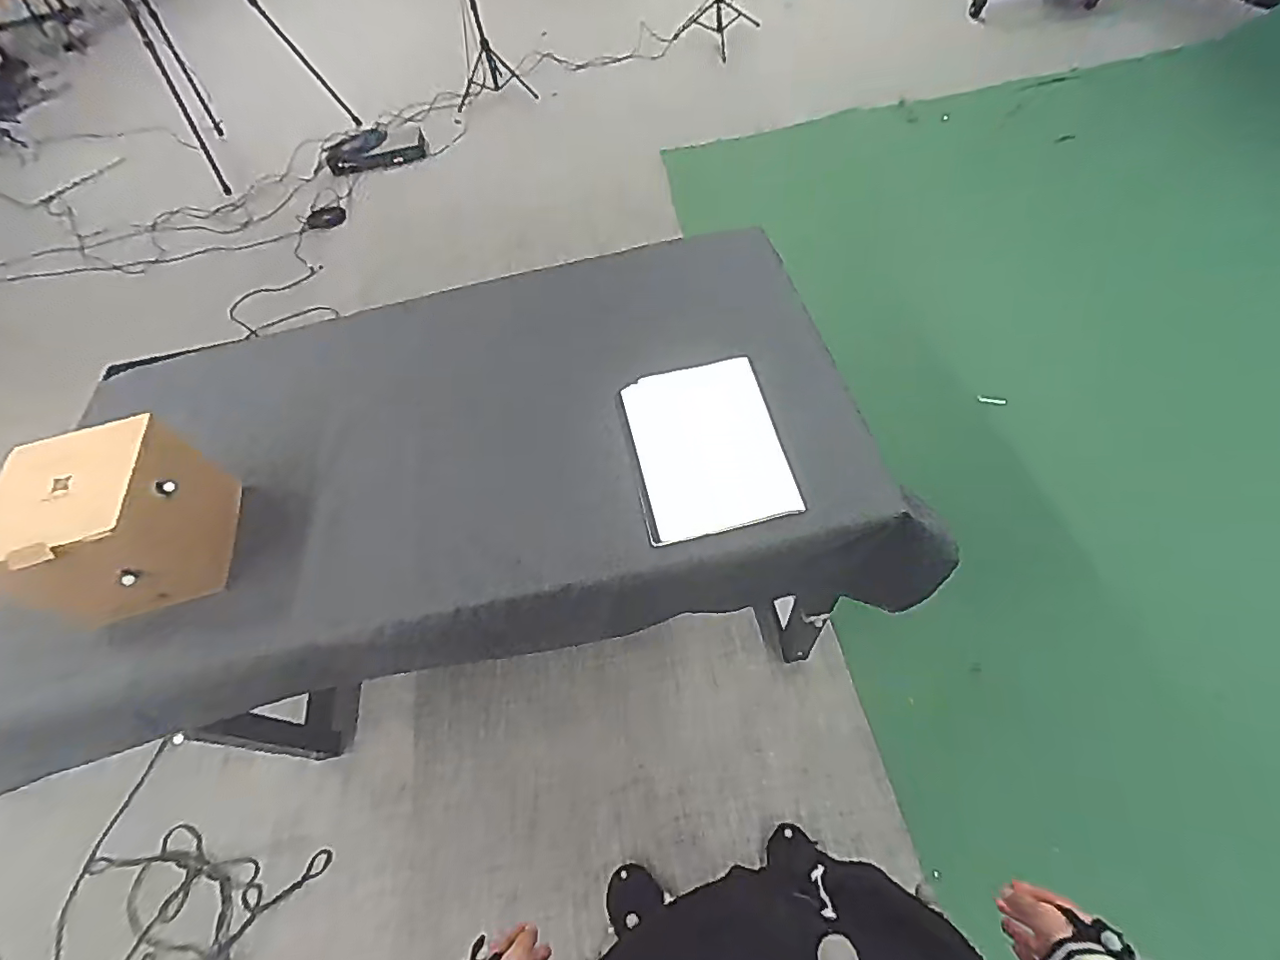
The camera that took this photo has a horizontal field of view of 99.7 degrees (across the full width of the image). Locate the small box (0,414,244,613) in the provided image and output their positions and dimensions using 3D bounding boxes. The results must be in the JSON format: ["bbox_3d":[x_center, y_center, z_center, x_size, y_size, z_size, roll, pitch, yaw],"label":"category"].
[{"bbox_3d":[-0.643,0.051,0.679,0.168,0.176,0.179,-16,56,-4],"label":"small box"}]
